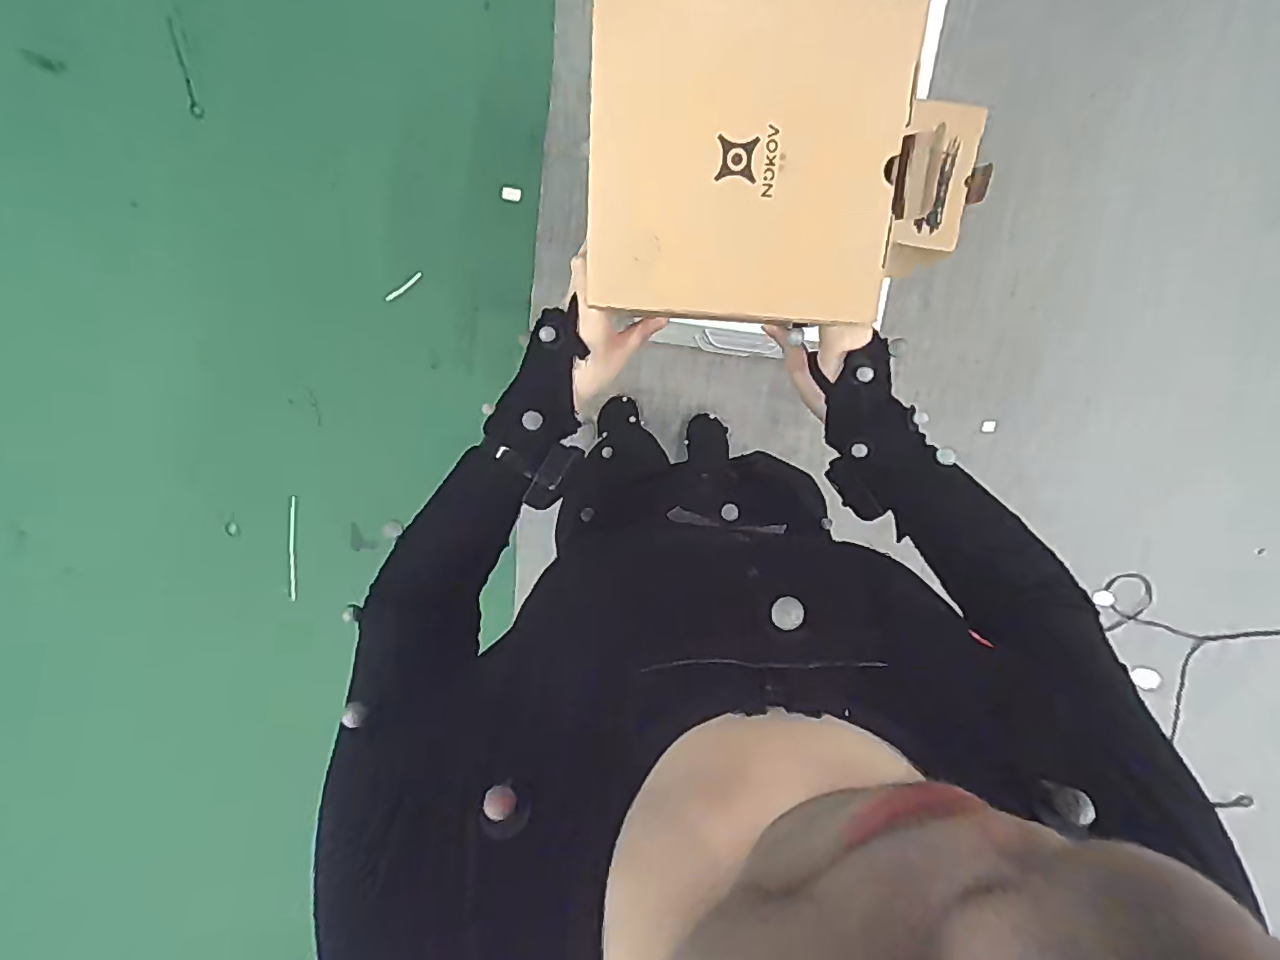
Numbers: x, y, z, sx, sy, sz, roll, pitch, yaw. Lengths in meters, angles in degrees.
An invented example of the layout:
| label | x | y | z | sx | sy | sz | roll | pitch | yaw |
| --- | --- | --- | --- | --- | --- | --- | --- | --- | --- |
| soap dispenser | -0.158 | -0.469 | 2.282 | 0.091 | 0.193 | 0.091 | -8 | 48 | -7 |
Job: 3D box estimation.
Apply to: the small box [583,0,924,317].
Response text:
| label | x | y | z | sx | sy | sz | roll | pitch | yaw |
| --- | --- | --- | --- | --- | --- | --- | --- | --- | --- |
| small box | 0.060 | -0.208 | 0.380 | 0.179 | 0.176 | 0.168 | 4 | 104 | -1 |
